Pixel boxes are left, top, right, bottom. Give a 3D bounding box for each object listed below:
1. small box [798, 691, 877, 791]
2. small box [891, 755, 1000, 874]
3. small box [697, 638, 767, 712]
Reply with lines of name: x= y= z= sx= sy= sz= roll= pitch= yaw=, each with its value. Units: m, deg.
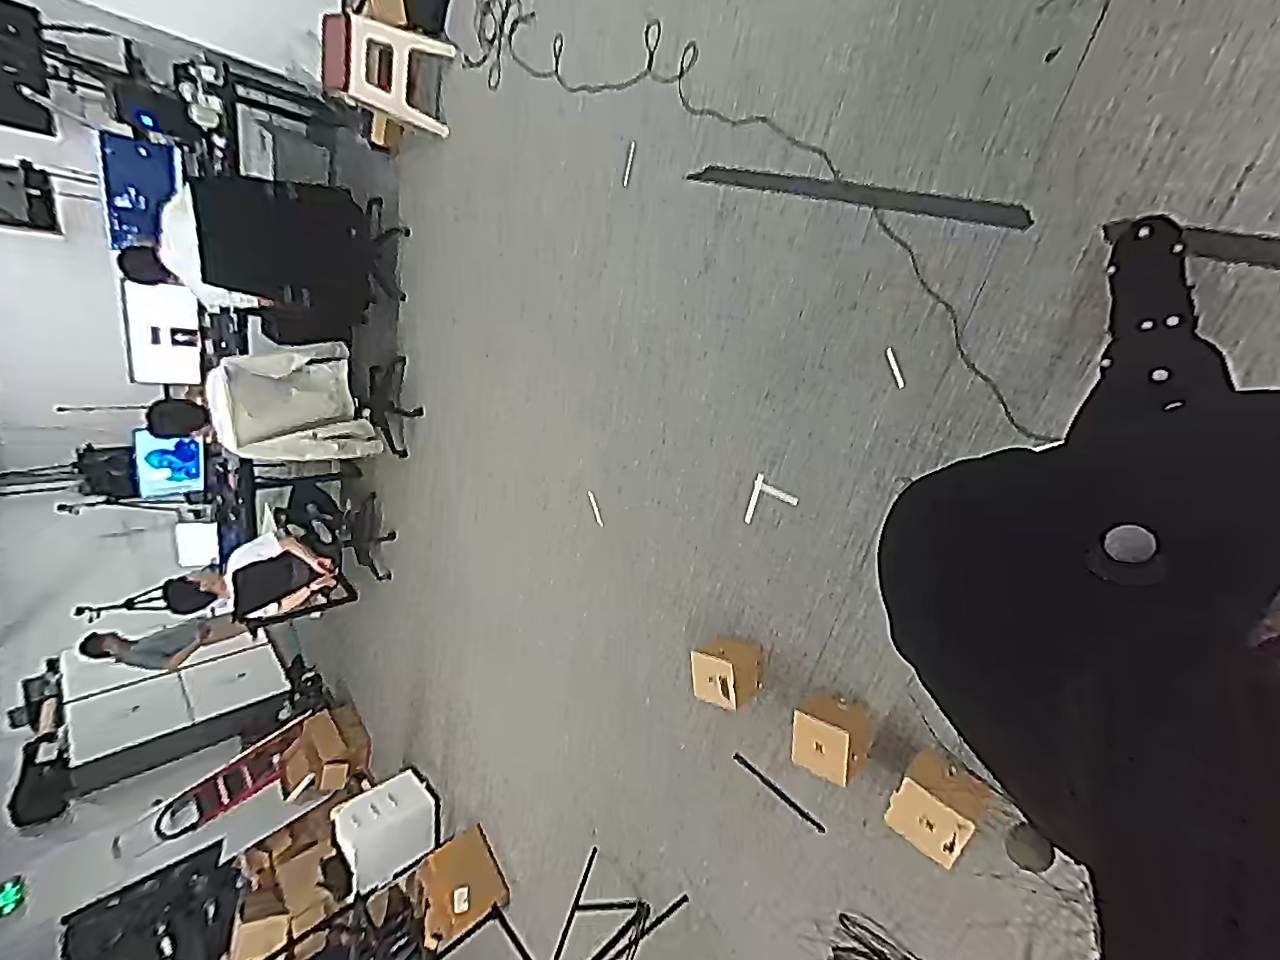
small box: x=0.584 y=0.759 z=1.594 sx=0.168 sy=0.176 sz=0.179 roll=8 pitch=102 yaw=42
small box: x=0.795 y=0.854 z=1.407 sx=0.179 sy=0.176 sz=0.168 roll=30 pitch=117 yaw=37
small box: x=0.317 y=0.652 z=1.832 sx=0.179 sy=0.176 sz=0.168 roll=0 pitch=97 yaw=45
